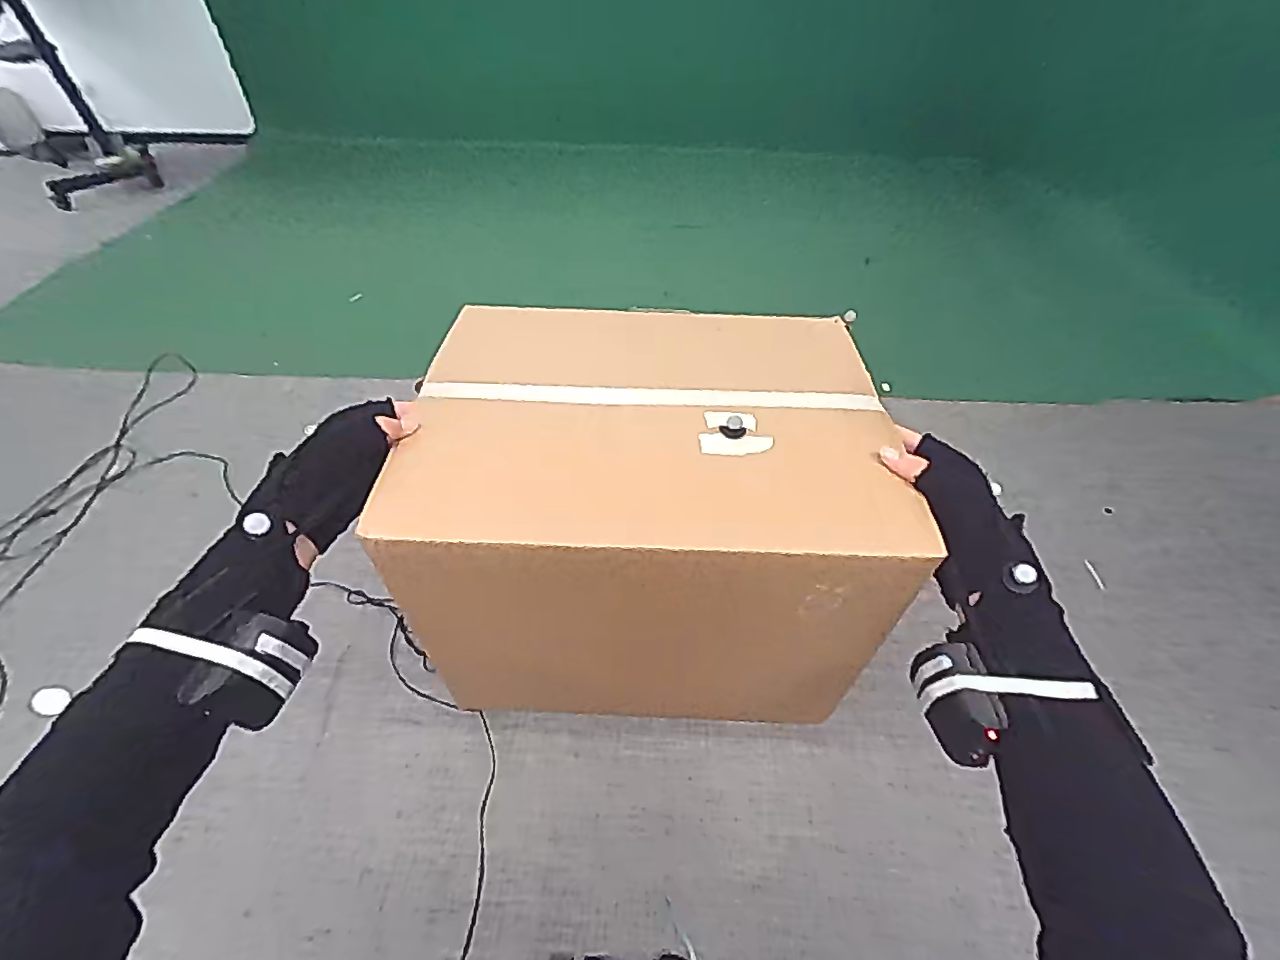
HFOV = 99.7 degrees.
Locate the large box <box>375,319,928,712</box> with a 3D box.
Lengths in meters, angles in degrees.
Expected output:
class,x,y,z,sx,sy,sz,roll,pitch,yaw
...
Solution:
class,x,y,z,sx,sy,sz,roll,pitch,yaw
large box,0.006,0.042,0.590,0.408,0.320,0.320,2,47,0
